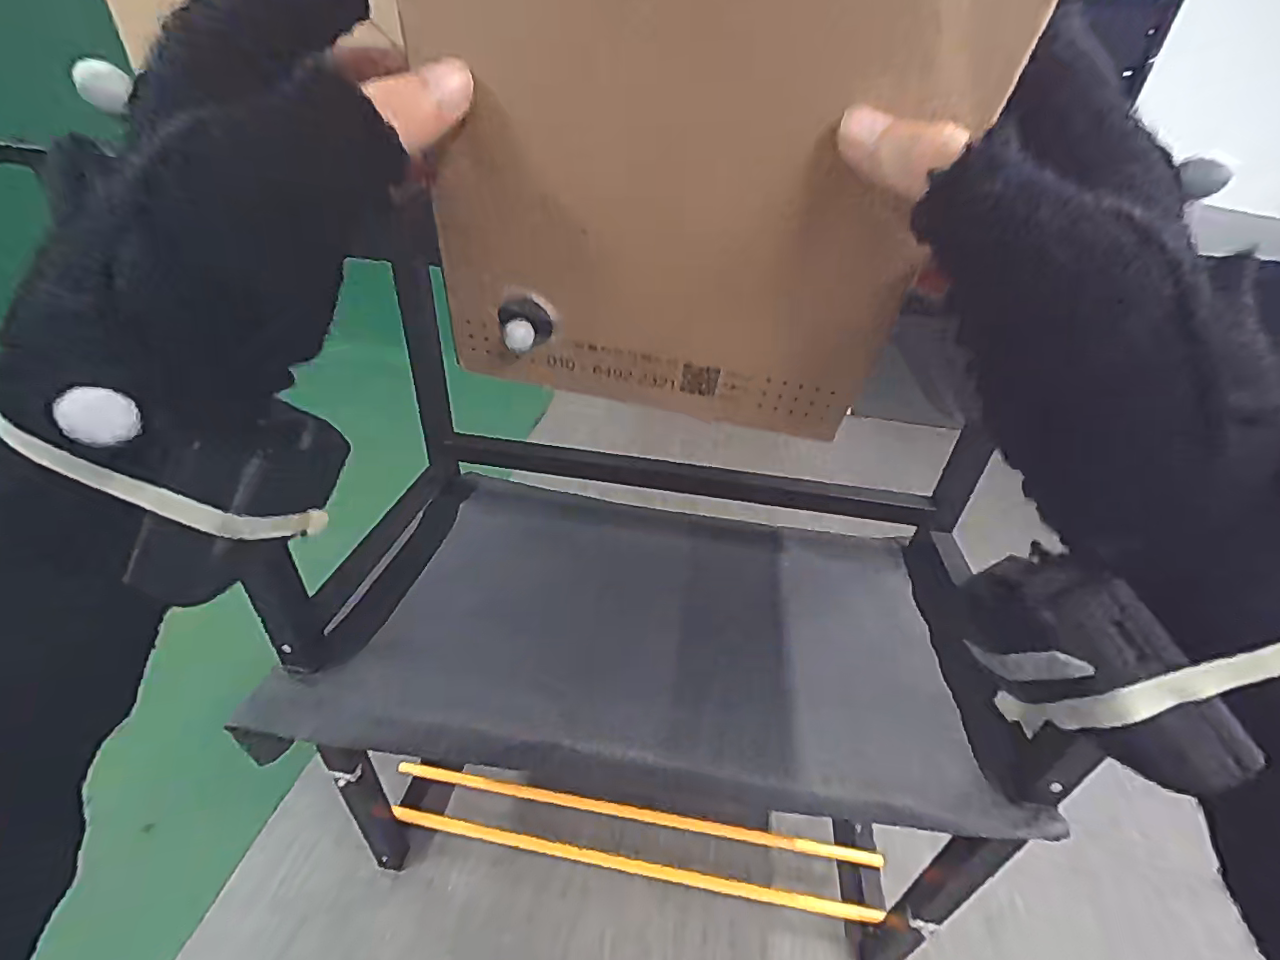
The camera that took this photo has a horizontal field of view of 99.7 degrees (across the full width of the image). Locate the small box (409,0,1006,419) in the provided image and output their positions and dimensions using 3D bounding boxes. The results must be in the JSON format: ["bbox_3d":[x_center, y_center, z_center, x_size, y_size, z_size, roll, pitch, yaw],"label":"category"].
[{"bbox_3d":[0.023,-0.150,0.235,0.168,0.176,0.179,12,46,2],"label":"small box"}]
